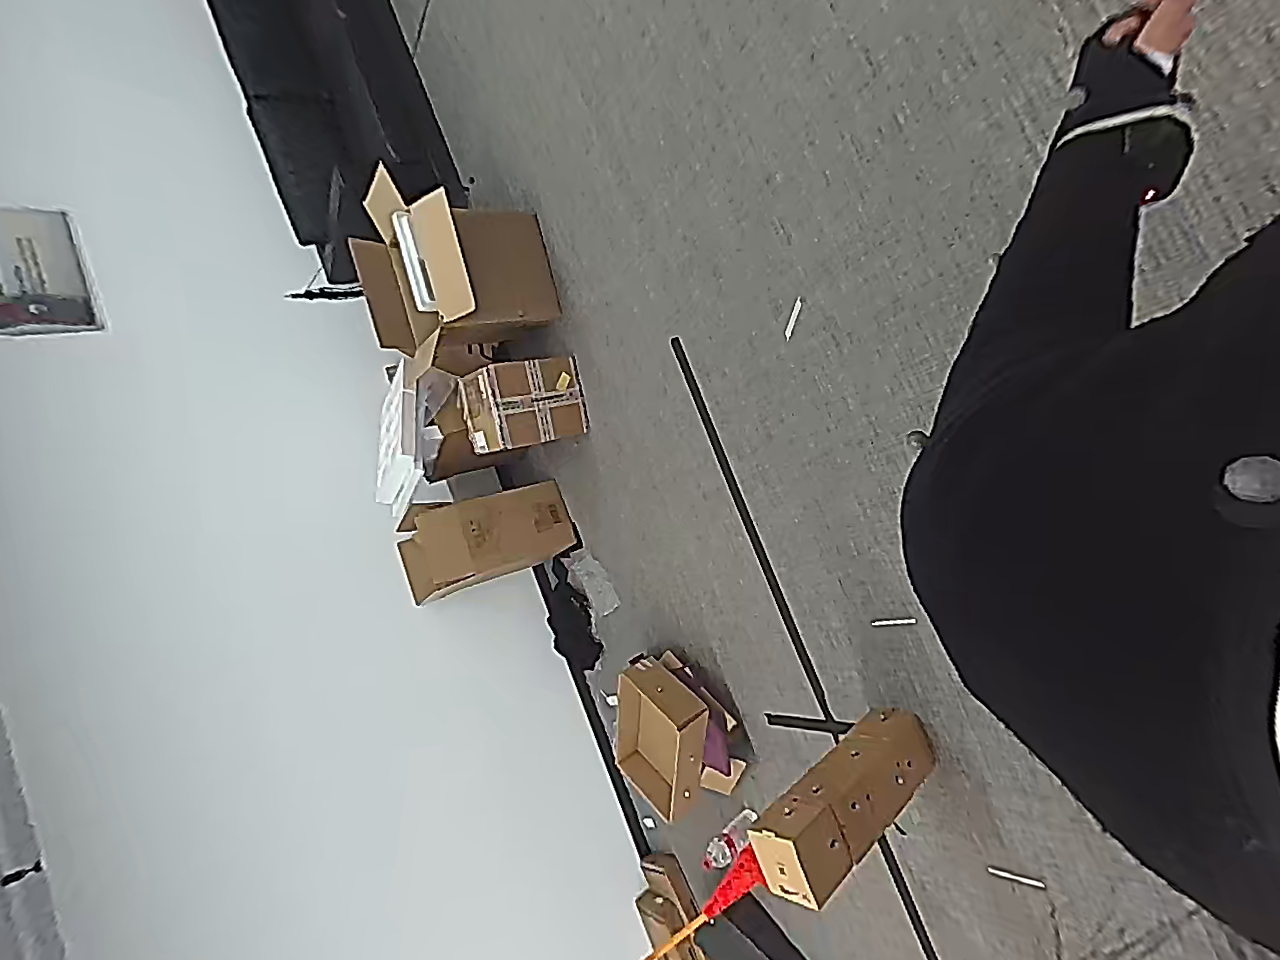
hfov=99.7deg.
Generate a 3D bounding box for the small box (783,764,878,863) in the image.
[{"bbox_3d":[0.547,0.934,1.534,0.179,0.176,0.168,-28,80,53],"label":"small box"}]

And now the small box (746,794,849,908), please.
[{"bbox_3d":[0.420,0.972,1.438,0.168,0.176,0.179,-28,80,52],"label":"small box"}]

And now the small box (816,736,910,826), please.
[{"bbox_3d":[0.672,0.896,1.630,0.179,0.176,0.168,-27,83,52],"label":"small box"}]

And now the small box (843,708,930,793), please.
[{"bbox_3d":[0.795,0.860,1.734,0.168,0.176,0.179,-27,82,52],"label":"small box"}]
